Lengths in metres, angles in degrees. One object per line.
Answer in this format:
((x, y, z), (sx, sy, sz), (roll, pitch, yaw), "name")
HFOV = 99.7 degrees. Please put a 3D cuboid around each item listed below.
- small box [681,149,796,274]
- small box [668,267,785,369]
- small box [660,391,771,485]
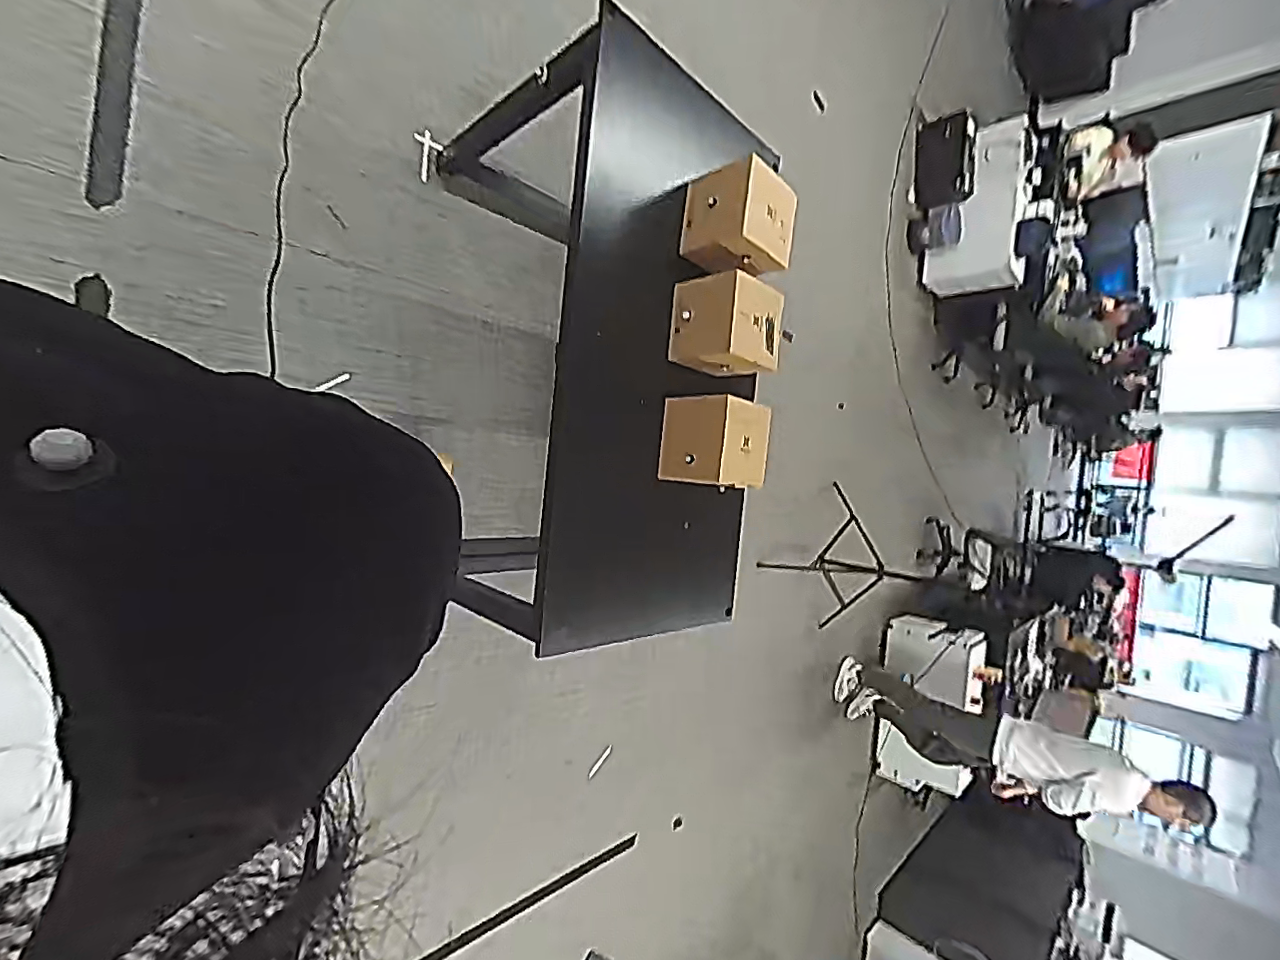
((0.208, -0.557, 1.157), (0.179, 0.176, 0.168), (9, 89, -45), "small box")
((0.183, -0.334, 1.154), (0.179, 0.176, 0.168), (3, 92, -43), "small box")
((0.160, -0.087, 1.160), (0.168, 0.176, 0.179), (5, 90, -46), "small box")
